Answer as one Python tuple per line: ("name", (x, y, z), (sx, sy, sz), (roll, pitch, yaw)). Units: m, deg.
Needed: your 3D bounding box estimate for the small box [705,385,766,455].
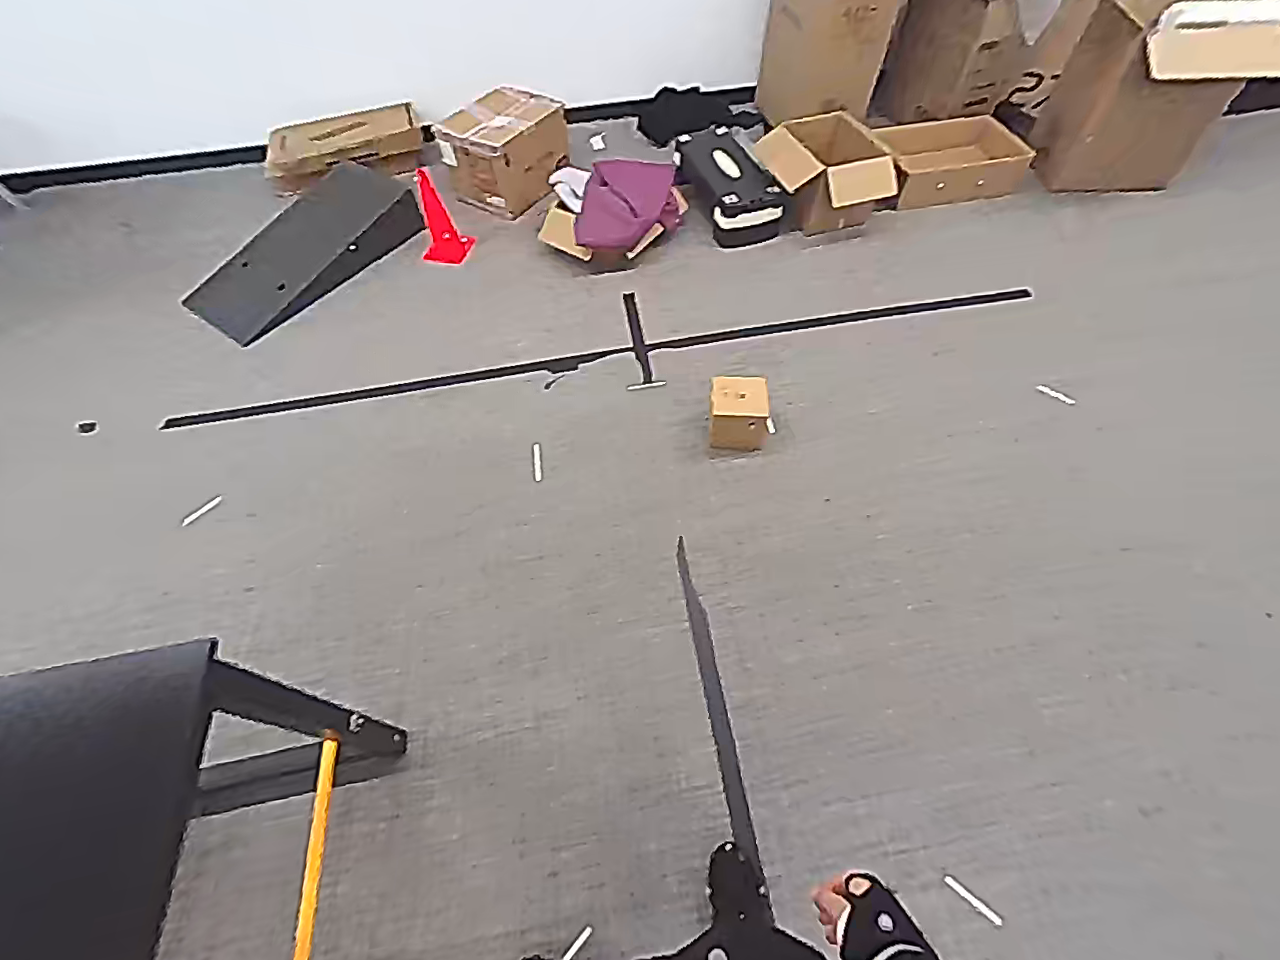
("small box", (0.312, -0.196, 1.795), (0.179, 0.176, 0.168), (2, 56, 3))
